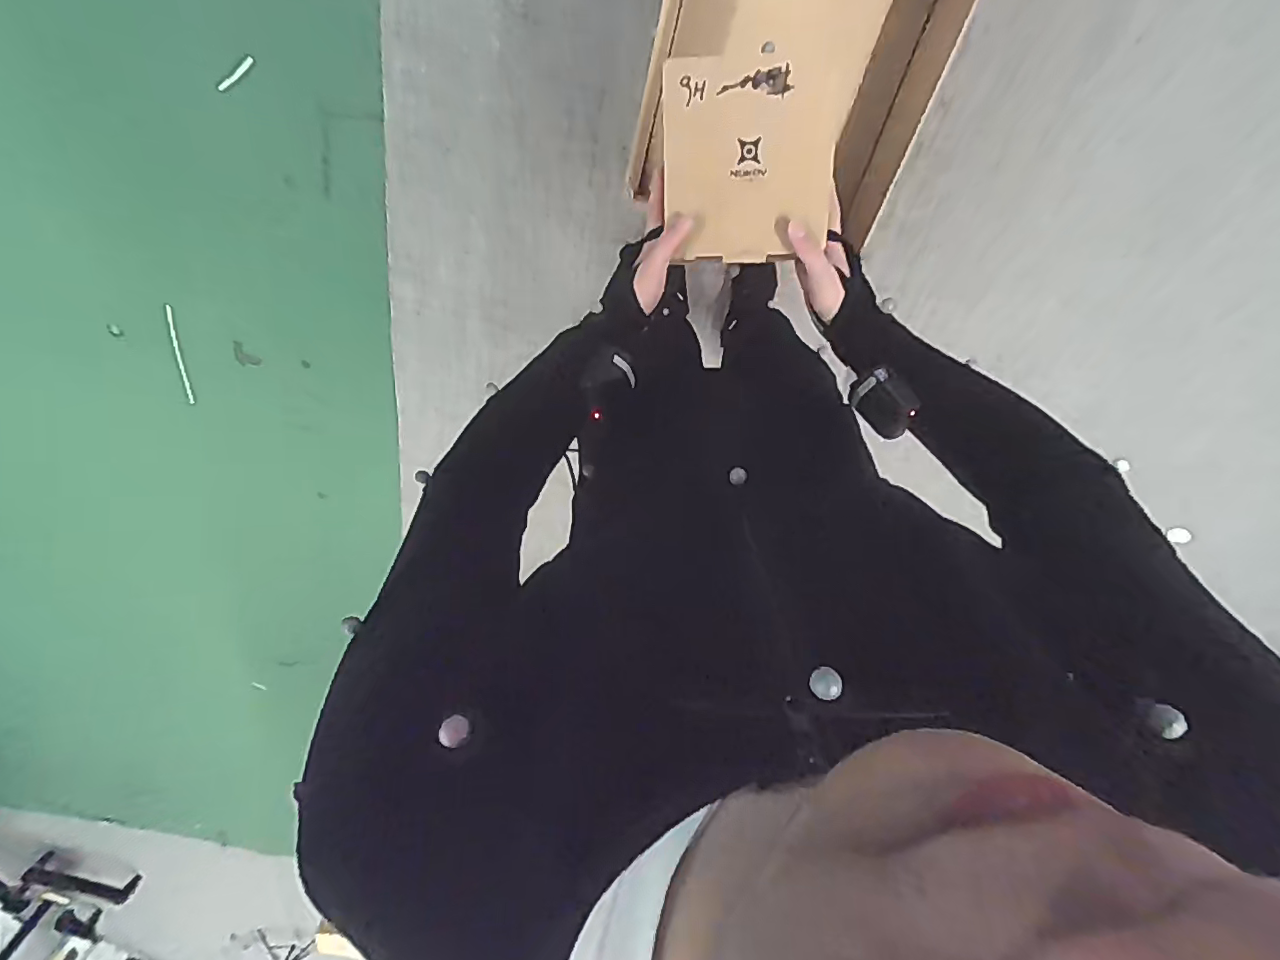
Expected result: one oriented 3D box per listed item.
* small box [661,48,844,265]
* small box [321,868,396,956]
[{"bbox_3d":[0.108,-0.335,0.592,0.168,0.176,0.179,-1,113,4],"label":"small box"},{"bbox_3d":[-0.921,1.423,1.781,0.168,0.176,0.179,15,122,-6],"label":"small box"}]
